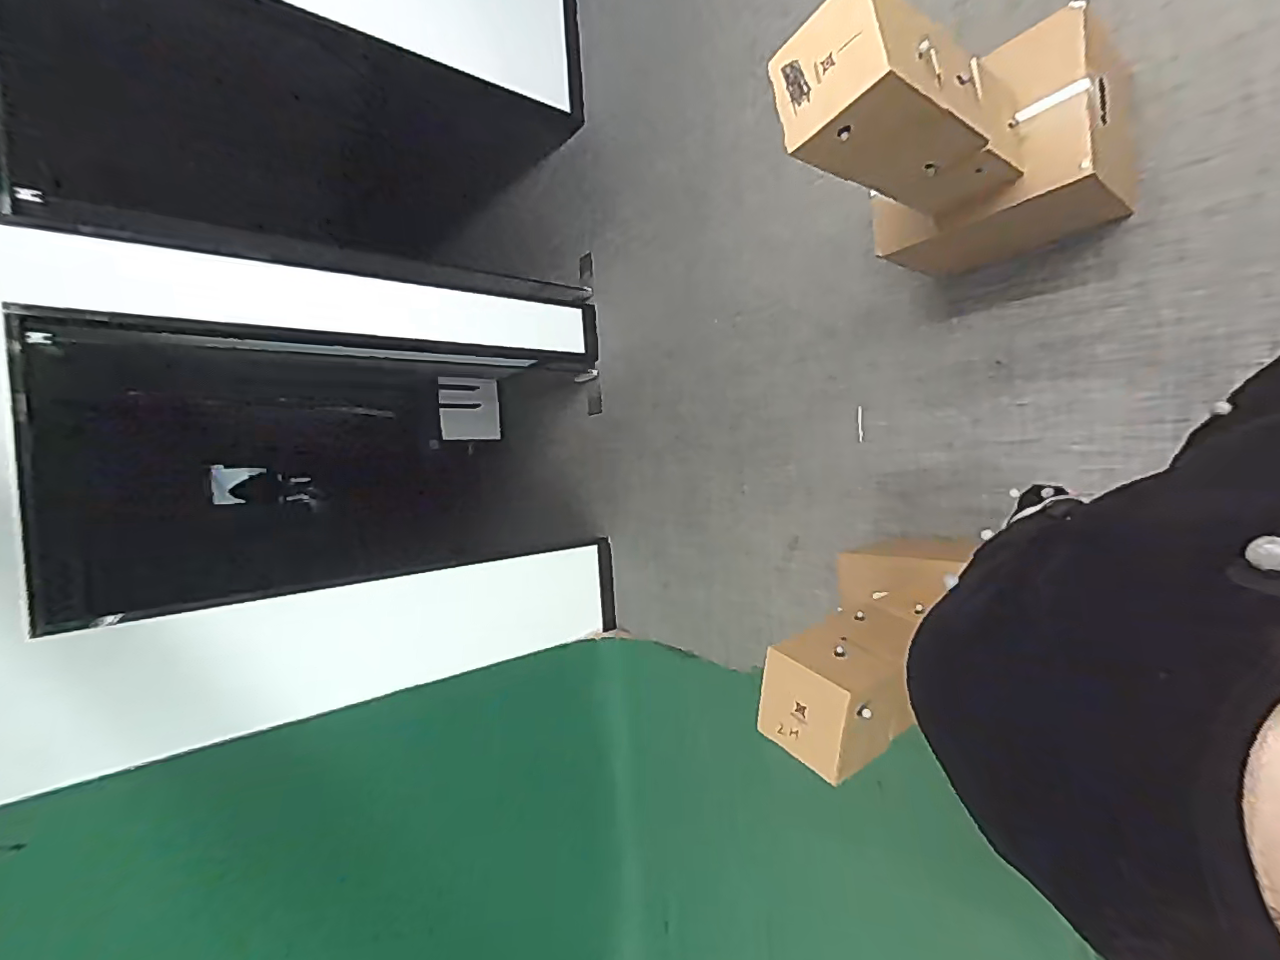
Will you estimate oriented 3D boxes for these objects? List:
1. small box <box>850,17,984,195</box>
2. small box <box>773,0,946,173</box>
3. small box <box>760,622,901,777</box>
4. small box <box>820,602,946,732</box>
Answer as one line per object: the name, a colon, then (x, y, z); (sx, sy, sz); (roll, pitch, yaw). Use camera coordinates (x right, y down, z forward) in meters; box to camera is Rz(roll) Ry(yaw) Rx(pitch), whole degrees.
small box: (0.477, -0.640, 0.953); (0.179, 0.176, 0.168); (-16, 82, 52)
small box: (0.344, -0.625, 0.855); (0.179, 0.176, 0.168); (-18, 81, 52)
small box: (0.343, 0.380, 0.975); (0.168, 0.176, 0.179); (21, 112, 50)
small box: (0.471, 0.358, 1.076); (0.179, 0.176, 0.168); (19, 111, 49)
